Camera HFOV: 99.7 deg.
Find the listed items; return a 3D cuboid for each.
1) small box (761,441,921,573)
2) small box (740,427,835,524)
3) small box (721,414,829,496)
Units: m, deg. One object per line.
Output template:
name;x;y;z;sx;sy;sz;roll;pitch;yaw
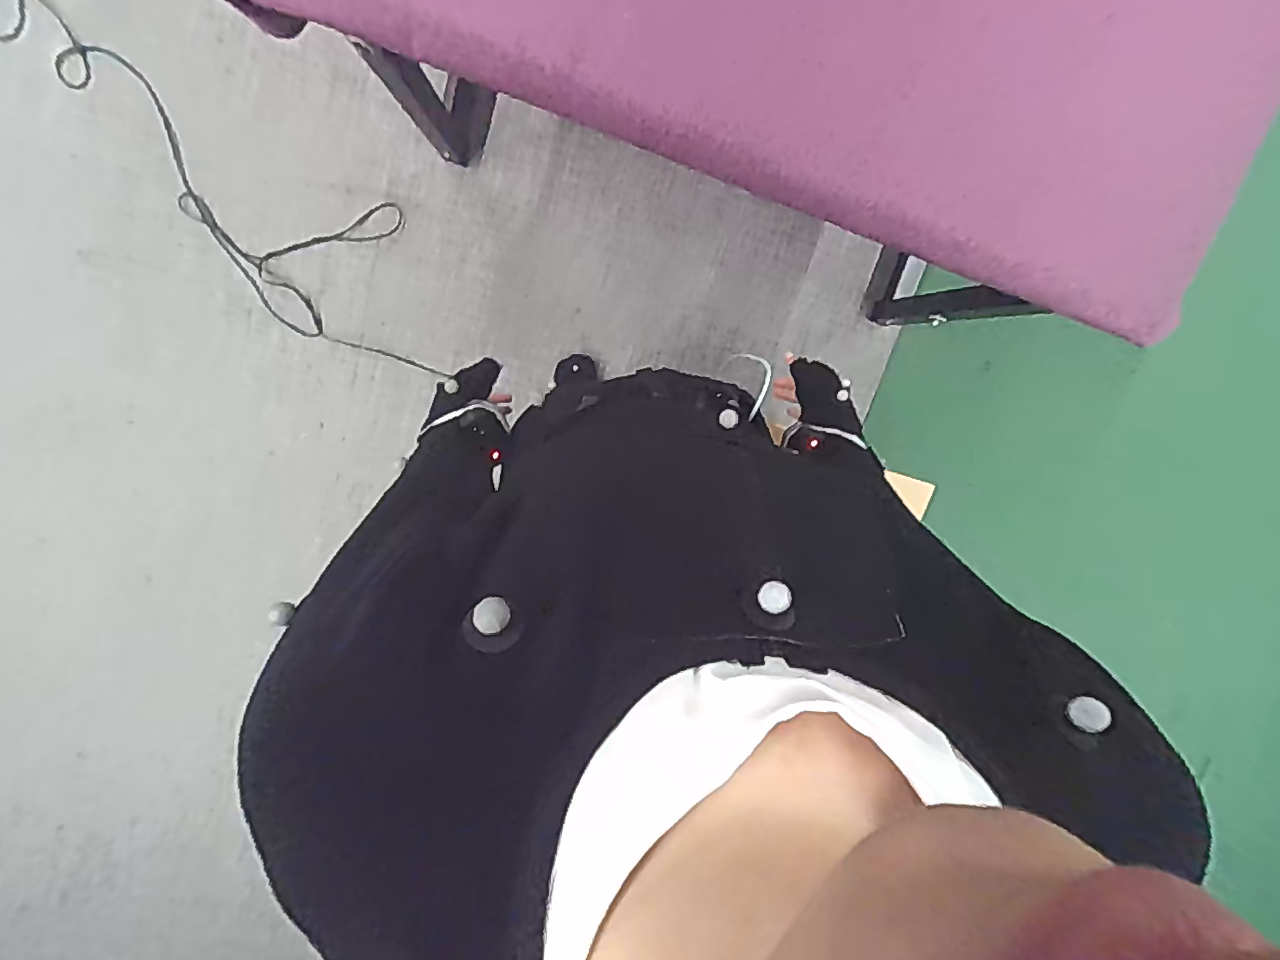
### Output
small box;0.341;0.040;0.951;0.179;0.176;0.168;17;100;-9
small box;0.321;0.005;1.112;0.168;0.176;0.179;19;100;-10
small box;0.304;-0.041;1.266;0.168;0.176;0.179;20;100;-10
